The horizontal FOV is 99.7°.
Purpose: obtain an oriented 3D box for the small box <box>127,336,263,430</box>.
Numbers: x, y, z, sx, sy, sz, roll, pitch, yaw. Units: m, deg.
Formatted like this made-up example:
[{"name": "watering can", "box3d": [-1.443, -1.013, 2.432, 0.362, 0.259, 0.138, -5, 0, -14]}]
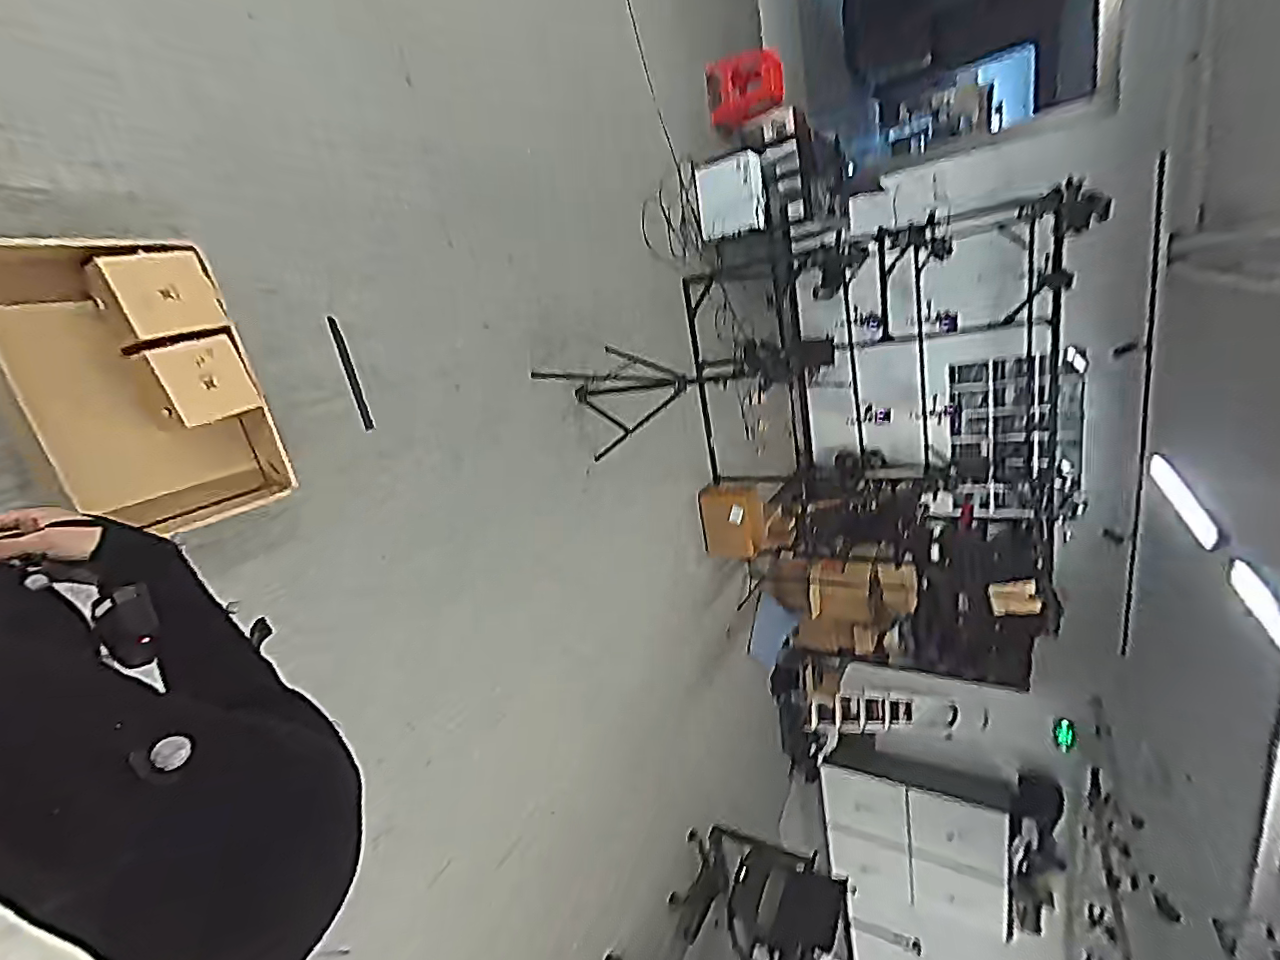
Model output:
[{"name": "small box", "box3d": [-1.037, -0.224, 1.263, 0.168, 0.176, 0.179, -41, 124, -49]}]
